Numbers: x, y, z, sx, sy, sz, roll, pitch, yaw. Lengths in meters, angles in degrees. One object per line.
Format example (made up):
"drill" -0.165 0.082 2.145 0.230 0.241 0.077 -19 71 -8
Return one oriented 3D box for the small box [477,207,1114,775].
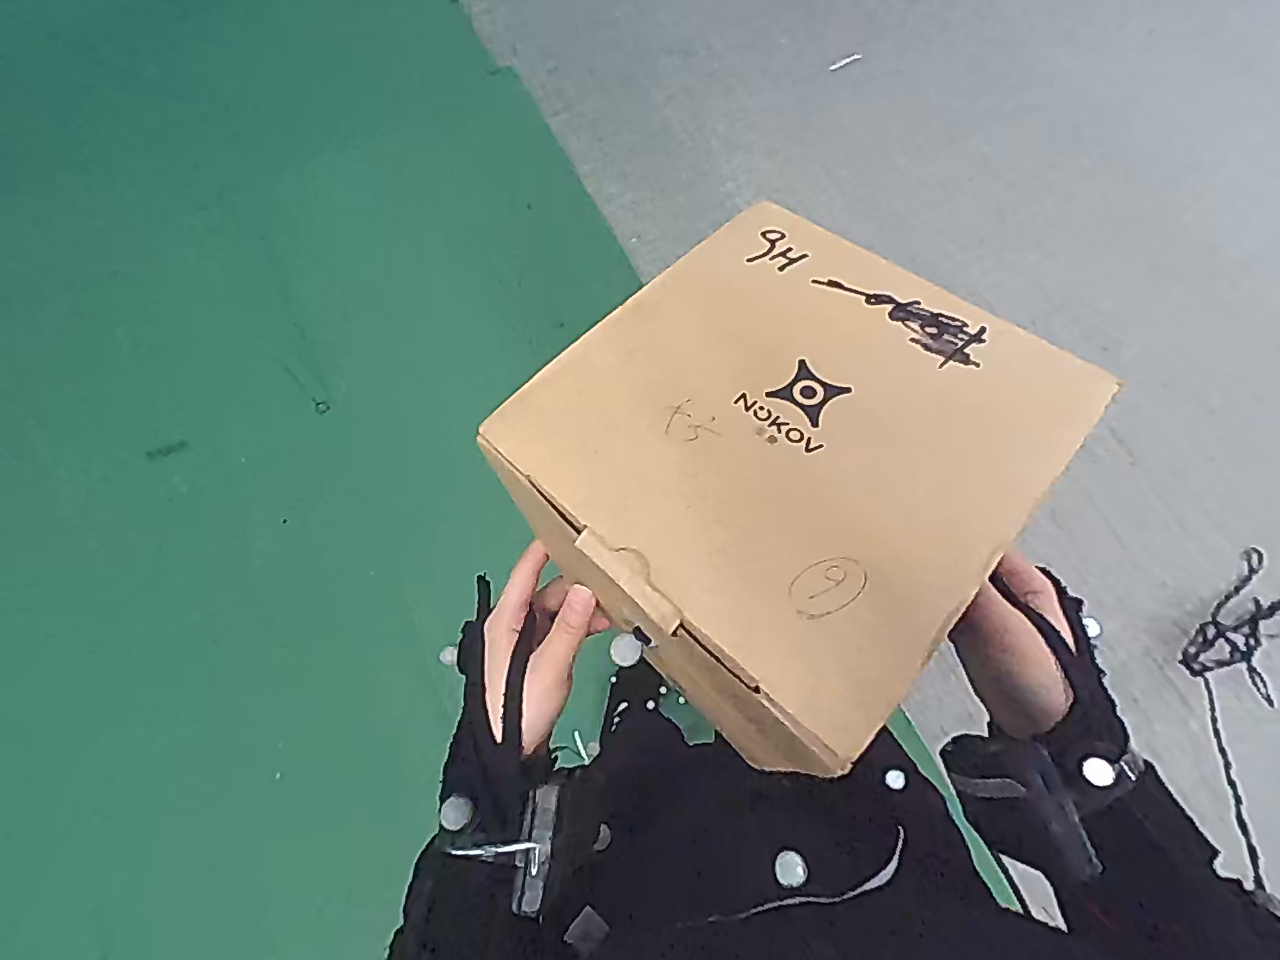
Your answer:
"small box" 0.060 0.014 0.270 0.168 0.176 0.179 40 73 22
